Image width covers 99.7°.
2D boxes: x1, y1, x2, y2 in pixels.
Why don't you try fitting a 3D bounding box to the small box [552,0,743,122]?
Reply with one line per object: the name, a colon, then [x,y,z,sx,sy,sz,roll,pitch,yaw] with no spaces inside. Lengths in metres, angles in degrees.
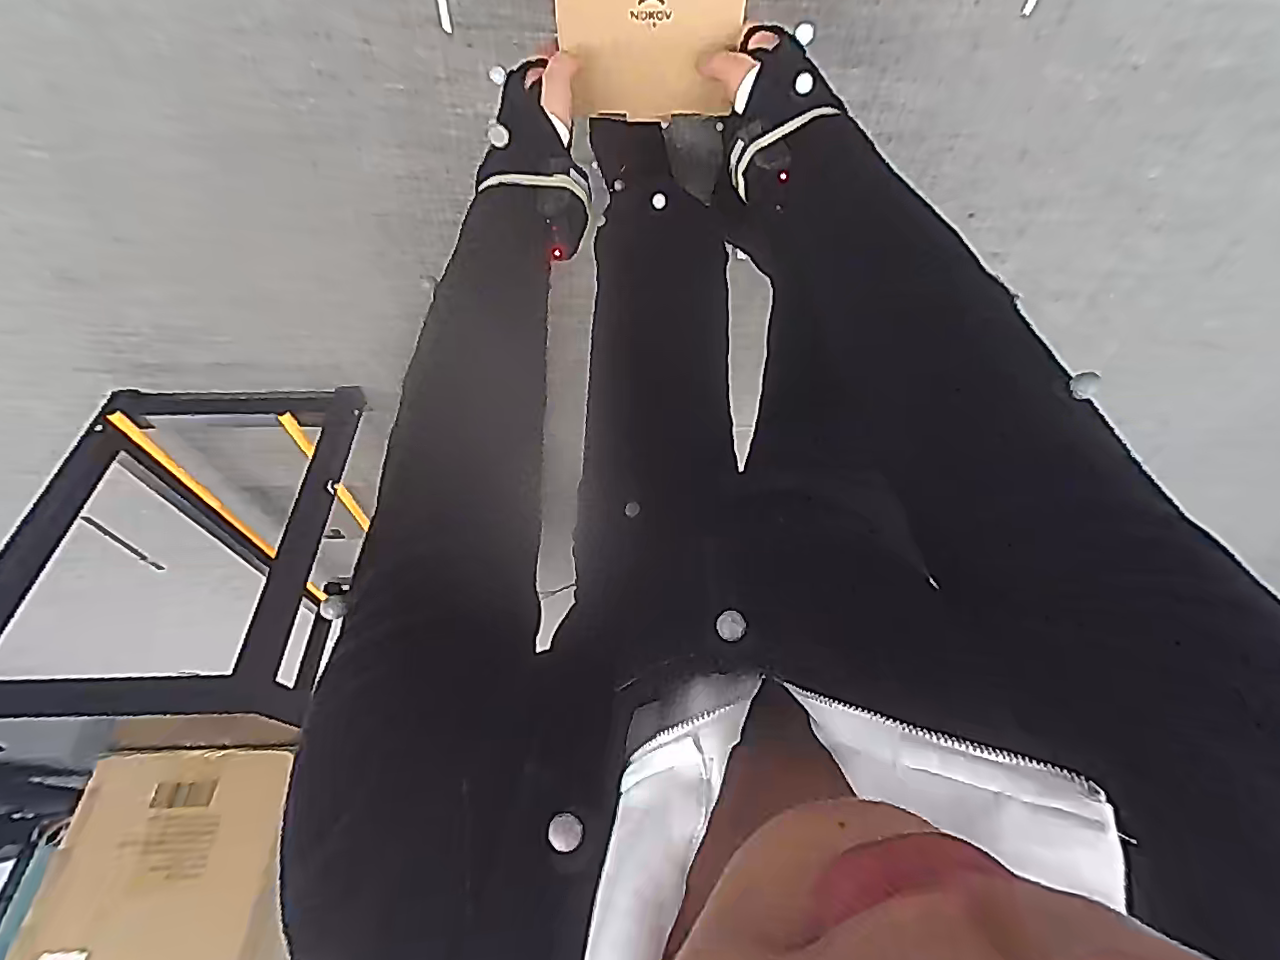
small box: [0.005,-0.467,0.509,0.168,0.176,0.179,-2,141,-1]
